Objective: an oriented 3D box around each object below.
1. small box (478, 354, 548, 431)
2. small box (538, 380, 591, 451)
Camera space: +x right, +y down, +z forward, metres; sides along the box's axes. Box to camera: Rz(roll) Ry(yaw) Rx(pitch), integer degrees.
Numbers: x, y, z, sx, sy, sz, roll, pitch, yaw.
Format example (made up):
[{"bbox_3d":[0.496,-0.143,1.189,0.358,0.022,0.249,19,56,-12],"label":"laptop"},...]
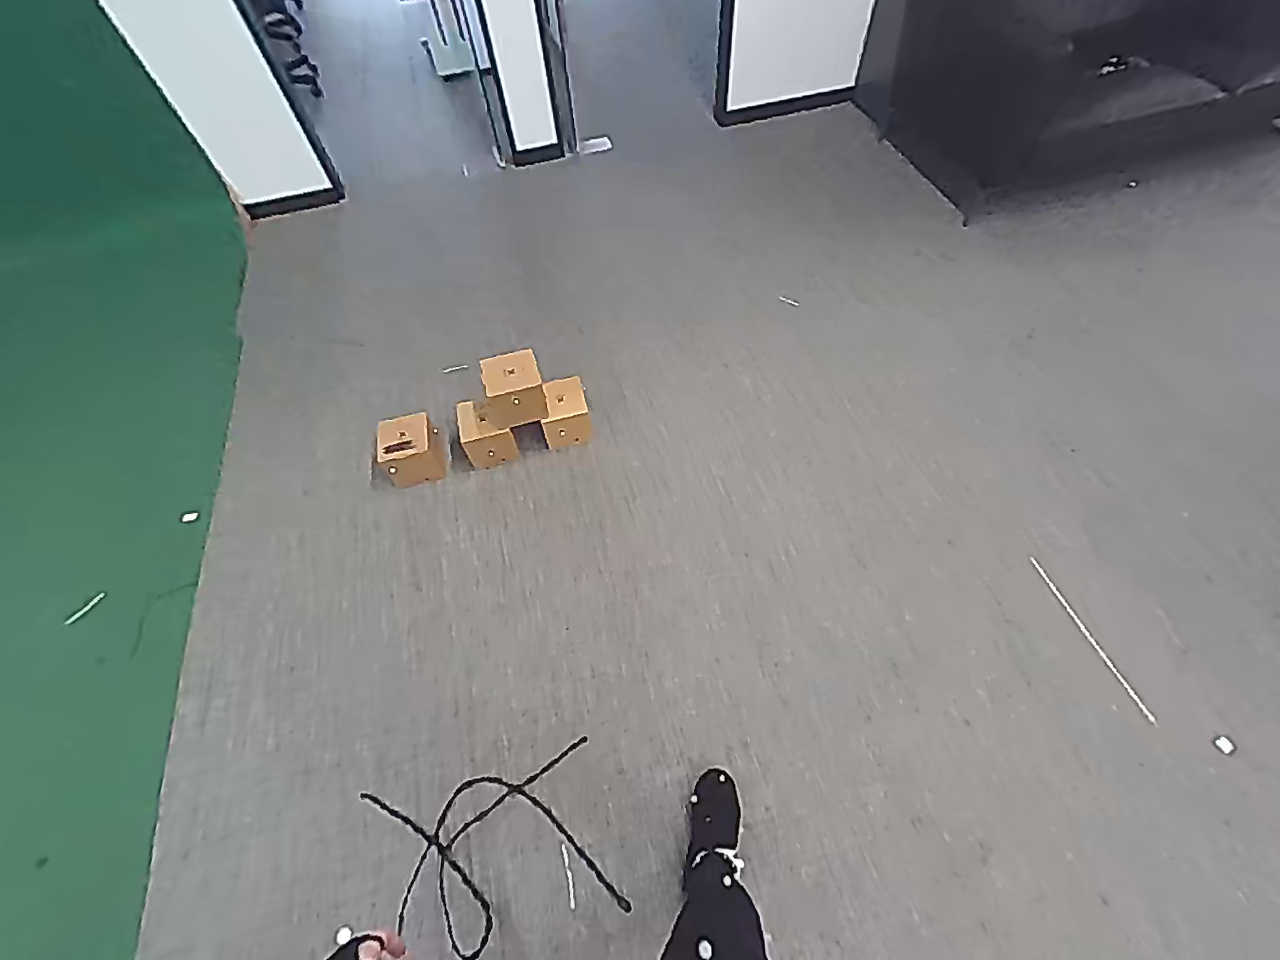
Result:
[{"bbox_3d":[-0.414,-0.283,1.775,0.179,0.176,0.168,-15,58,-9],"label":"small box"},{"bbox_3d":[-0.277,-0.222,1.925,0.168,0.176,0.179,-14,57,-6],"label":"small box"}]
